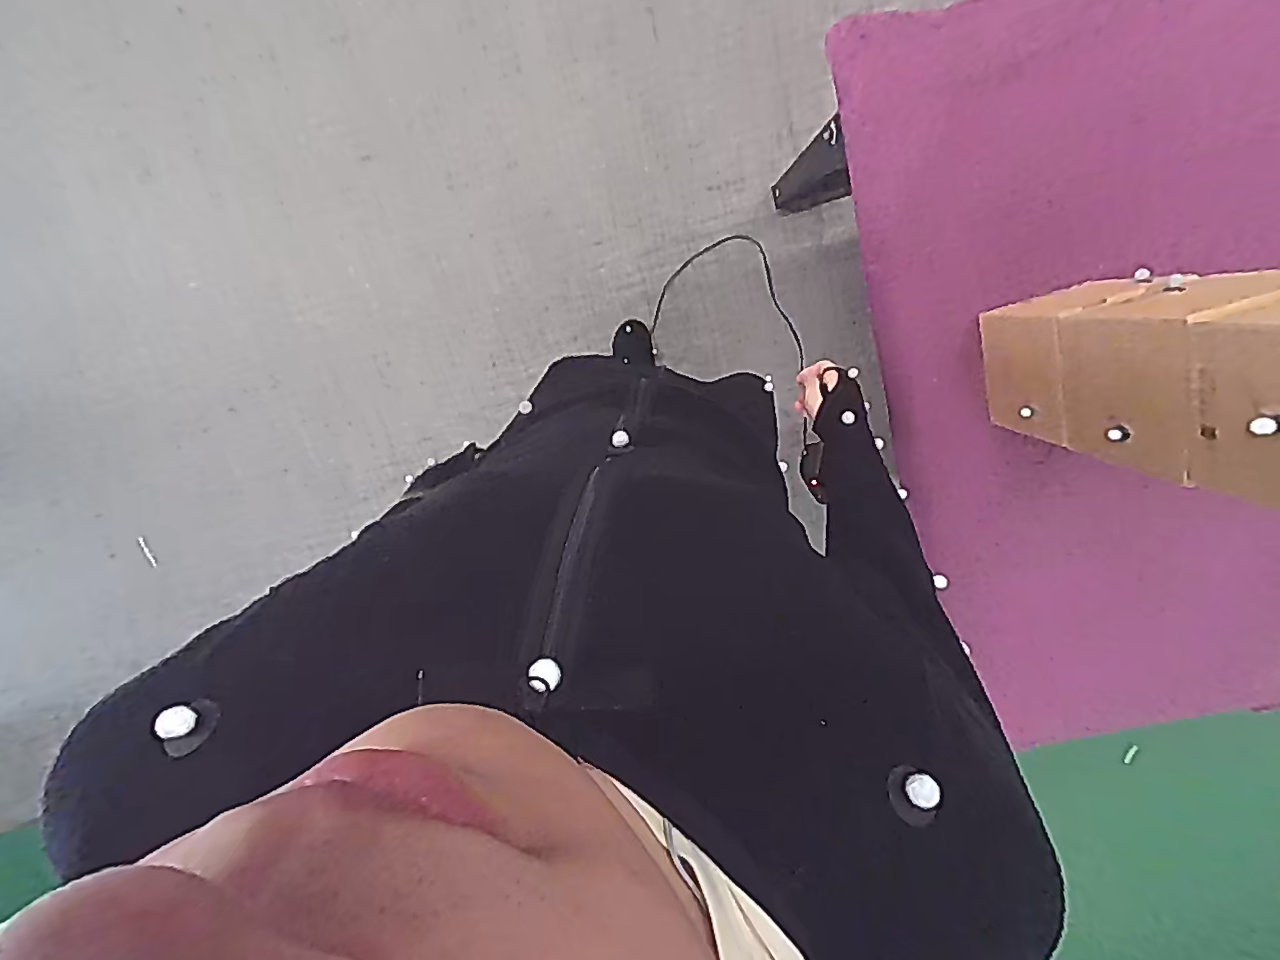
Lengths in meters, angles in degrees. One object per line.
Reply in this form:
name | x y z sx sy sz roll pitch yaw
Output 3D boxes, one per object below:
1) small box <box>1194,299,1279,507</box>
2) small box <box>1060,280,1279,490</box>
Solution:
small box | 0.606 -0.067 0.433 0.179 0.176 0.168 -16 106 6
small box | 0.603 -0.111 0.590 0.168 0.176 0.179 -15 105 6
